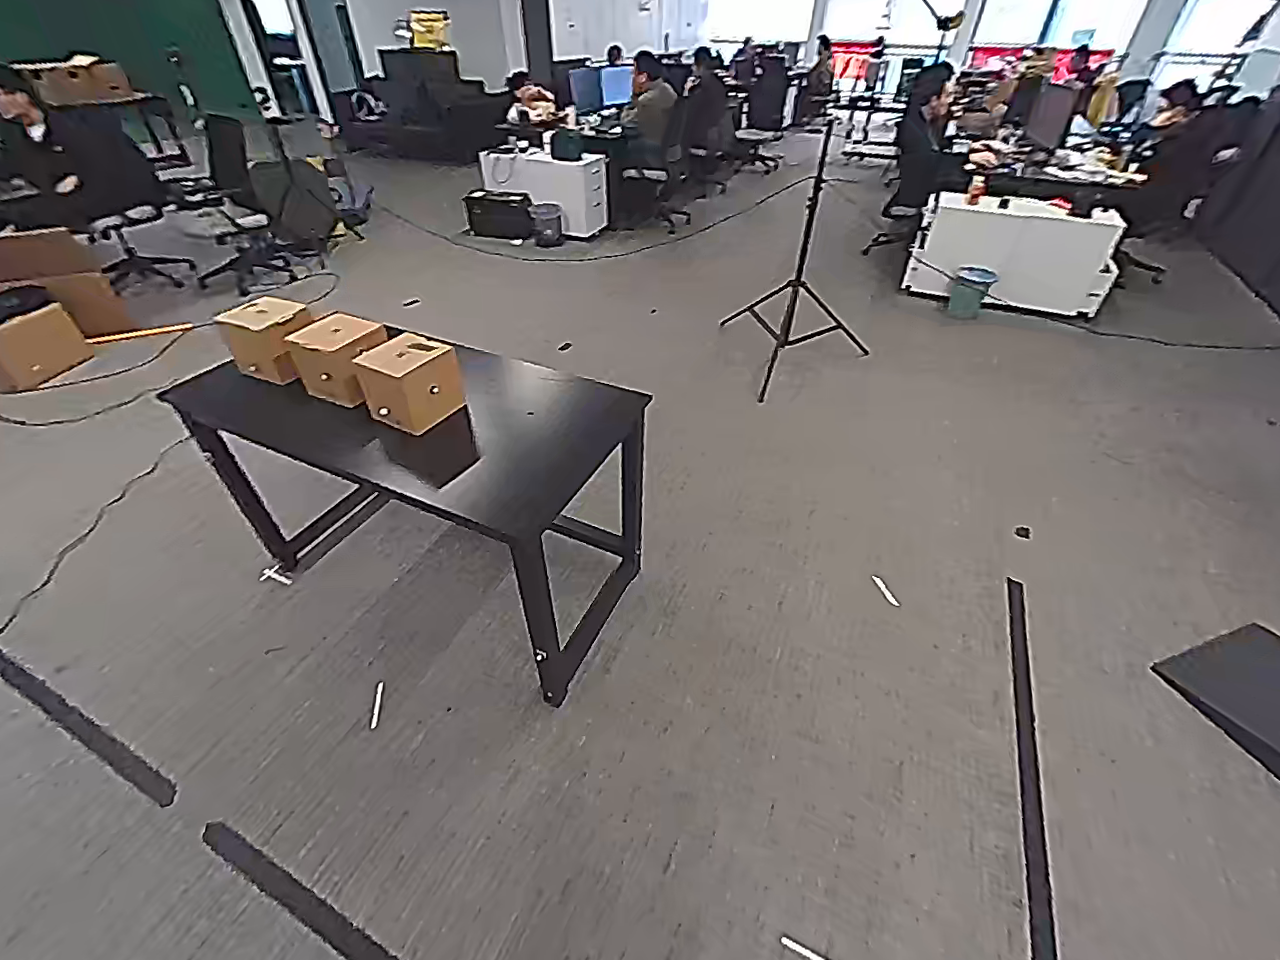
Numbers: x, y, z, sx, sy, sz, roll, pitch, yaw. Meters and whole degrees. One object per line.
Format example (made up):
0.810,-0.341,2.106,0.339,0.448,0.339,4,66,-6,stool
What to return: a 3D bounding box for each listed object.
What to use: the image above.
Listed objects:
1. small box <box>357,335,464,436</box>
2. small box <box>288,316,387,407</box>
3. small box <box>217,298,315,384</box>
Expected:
-0.568,-0.240,1.365,0.168,0.176,0.179,21,45,22,small box
-0.787,-0.318,1.455,0.168,0.176,0.179,18,42,18,small box
-1.027,-0.391,1.531,0.179,0.176,0.168,17,43,17,small box
